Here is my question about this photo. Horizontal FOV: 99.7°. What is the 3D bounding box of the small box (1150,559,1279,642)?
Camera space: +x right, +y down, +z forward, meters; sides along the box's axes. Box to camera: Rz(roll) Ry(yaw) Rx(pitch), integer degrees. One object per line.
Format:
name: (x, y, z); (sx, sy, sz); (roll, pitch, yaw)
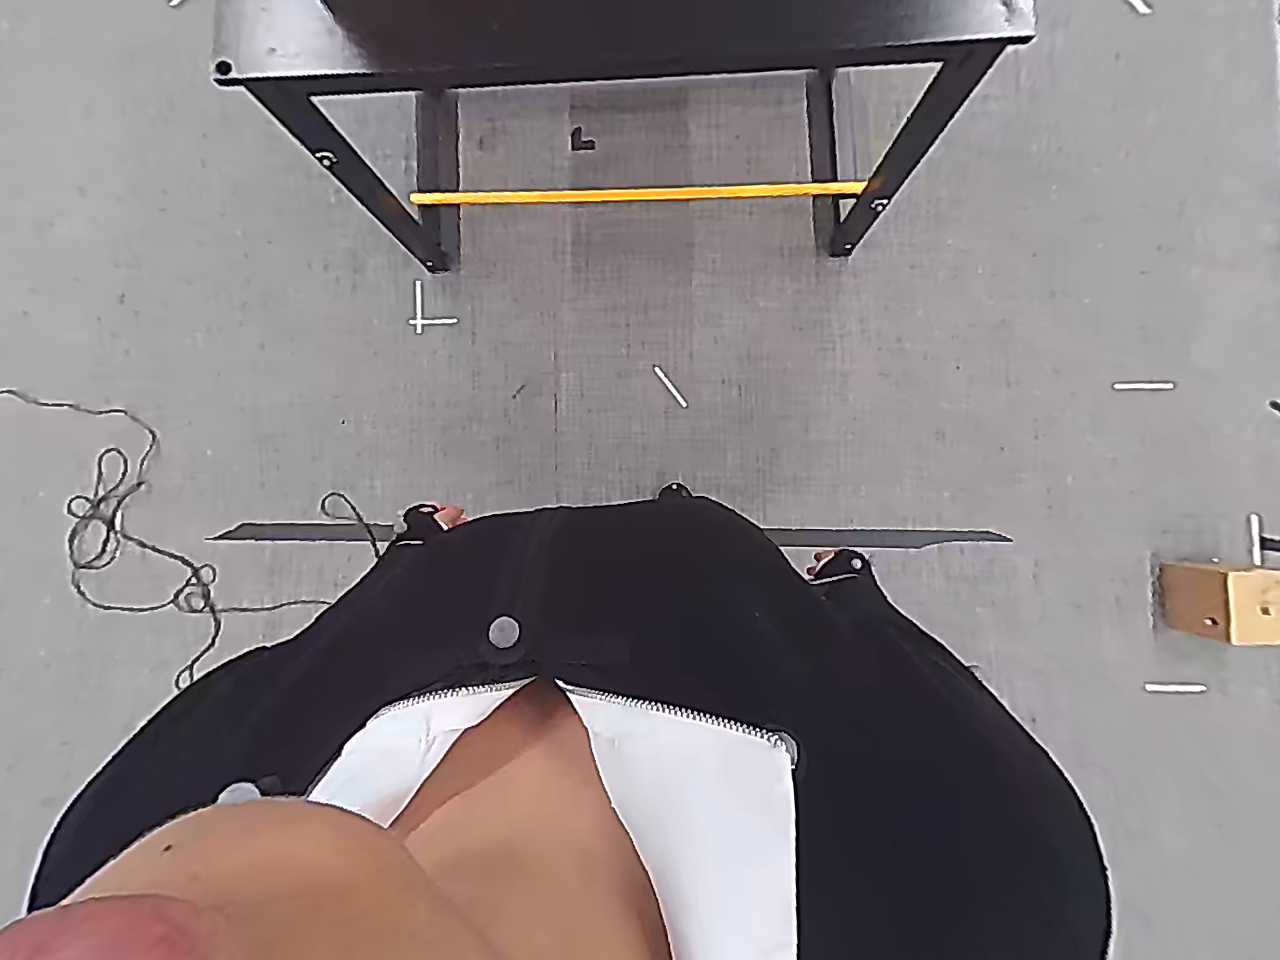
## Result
small box: (1.448, 0.299, 1.368); (0.168, 0.176, 0.179); (-2, 88, 2)
